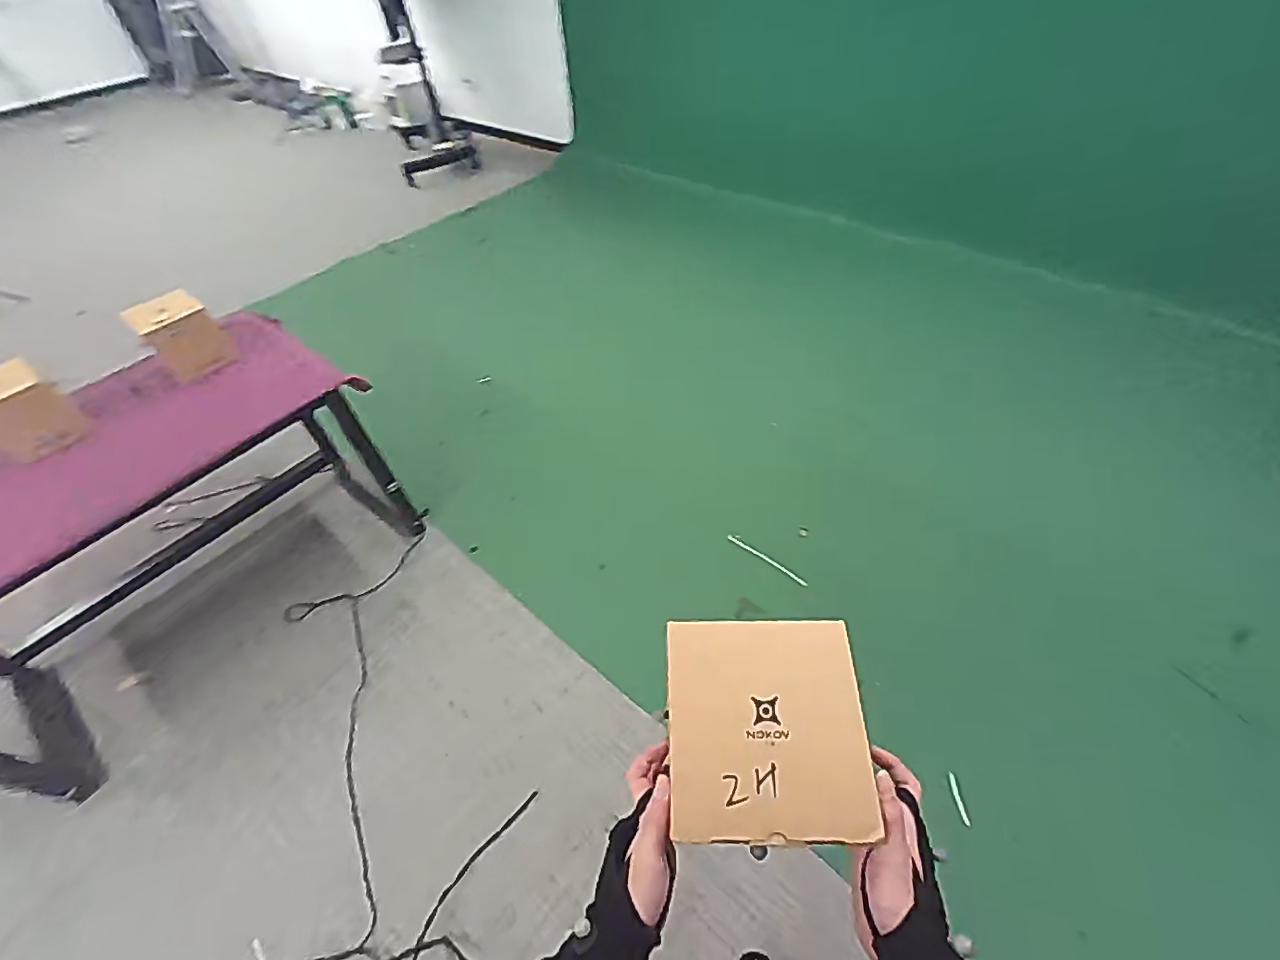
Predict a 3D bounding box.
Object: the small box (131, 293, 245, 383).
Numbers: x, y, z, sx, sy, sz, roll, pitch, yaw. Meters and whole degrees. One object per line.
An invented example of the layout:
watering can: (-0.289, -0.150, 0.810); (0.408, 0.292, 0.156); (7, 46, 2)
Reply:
small box: (-1.293, -0.406, 1.555); (0.179, 0.176, 0.168); (32, 59, 29)

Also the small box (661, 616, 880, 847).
small box: (0.103, 0.242, 0.517); (0.168, 0.176, 0.179); (-2, 58, 3)

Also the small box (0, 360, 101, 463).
small box: (-1.544, -0.171, 1.372); (0.179, 0.176, 0.168); (30, 58, 27)
